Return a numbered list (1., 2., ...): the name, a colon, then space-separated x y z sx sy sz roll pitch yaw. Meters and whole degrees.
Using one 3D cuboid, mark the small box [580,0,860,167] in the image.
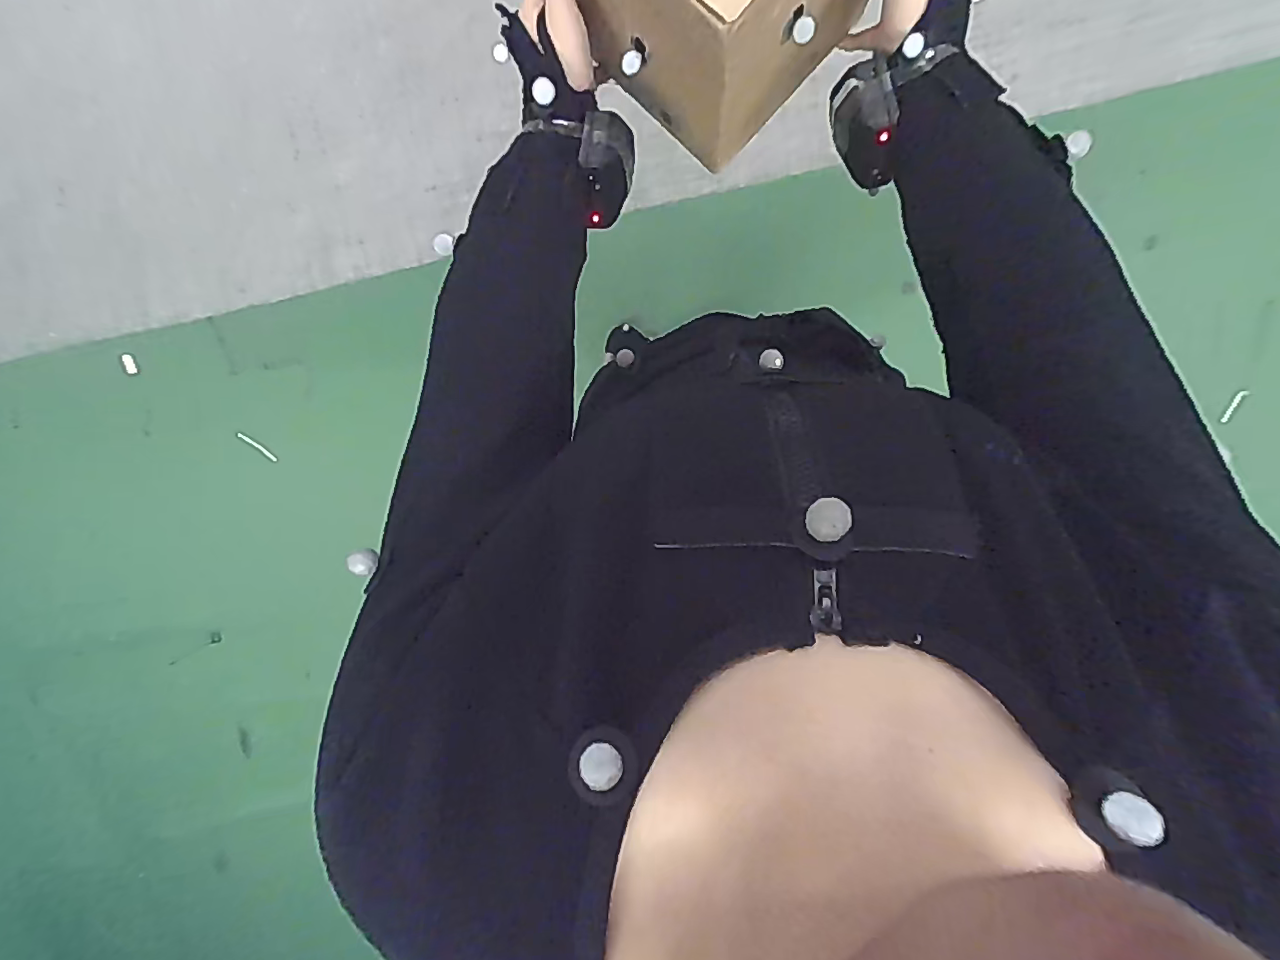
1. small box: 0.061 -0.378 0.392 0.168 0.176 0.179 44 97 3
